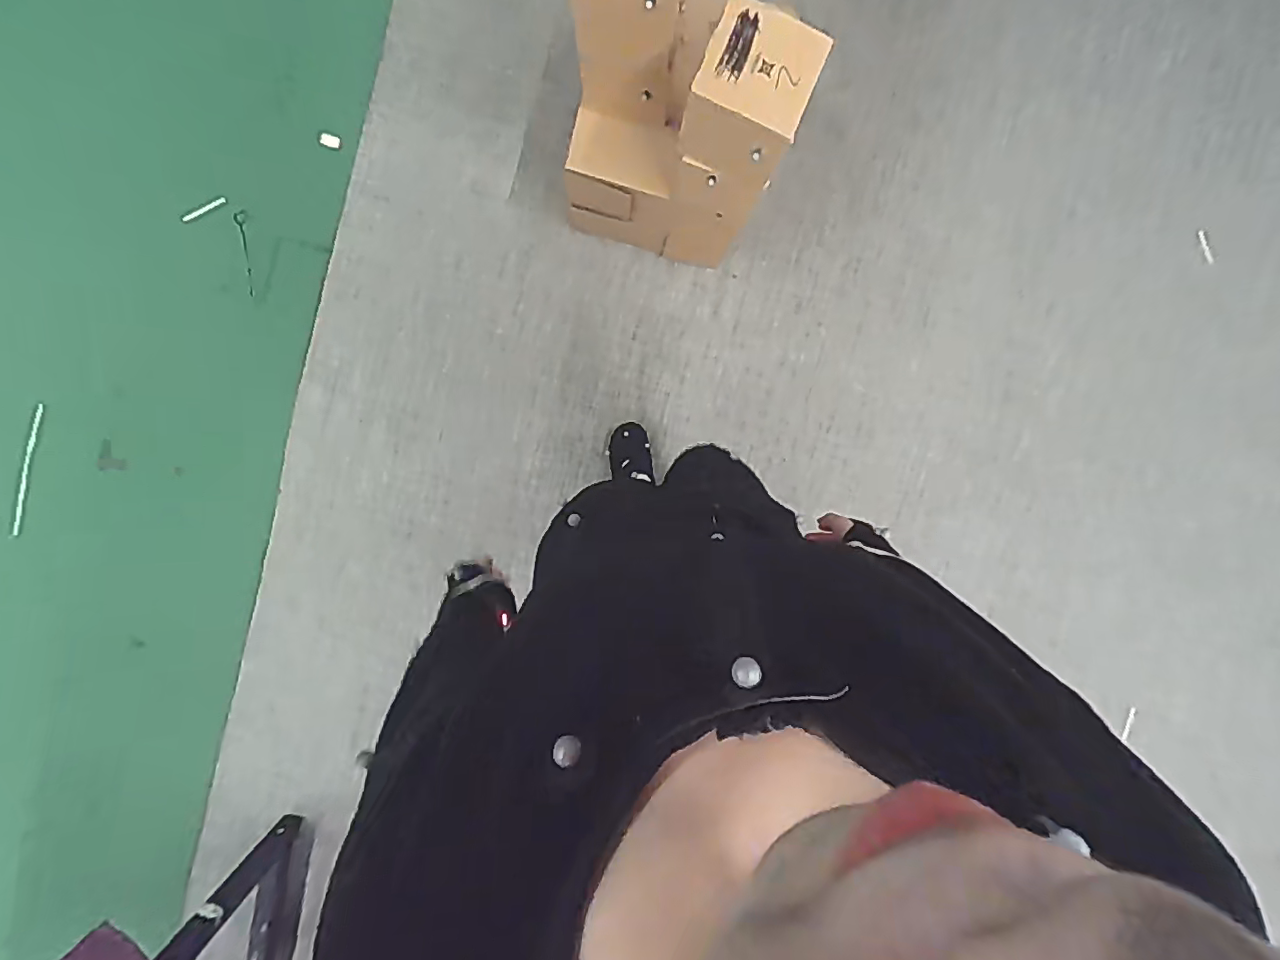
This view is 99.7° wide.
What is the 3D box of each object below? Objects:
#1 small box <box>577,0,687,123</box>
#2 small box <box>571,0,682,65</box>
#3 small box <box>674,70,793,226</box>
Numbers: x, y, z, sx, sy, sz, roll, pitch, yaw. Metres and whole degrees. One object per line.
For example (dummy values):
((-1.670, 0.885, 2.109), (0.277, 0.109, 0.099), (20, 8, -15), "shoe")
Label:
((-0.015, -0.839, 1.055), (0.179, 0.176, 0.168), (12, 90, -2), "small box")
((-0.016, -0.839, 0.893), (0.179, 0.176, 0.168), (13, 90, -3), "small box")
((0.174, -0.642, 1.066), (0.168, 0.176, 0.179), (18, 91, -3), "small box")
